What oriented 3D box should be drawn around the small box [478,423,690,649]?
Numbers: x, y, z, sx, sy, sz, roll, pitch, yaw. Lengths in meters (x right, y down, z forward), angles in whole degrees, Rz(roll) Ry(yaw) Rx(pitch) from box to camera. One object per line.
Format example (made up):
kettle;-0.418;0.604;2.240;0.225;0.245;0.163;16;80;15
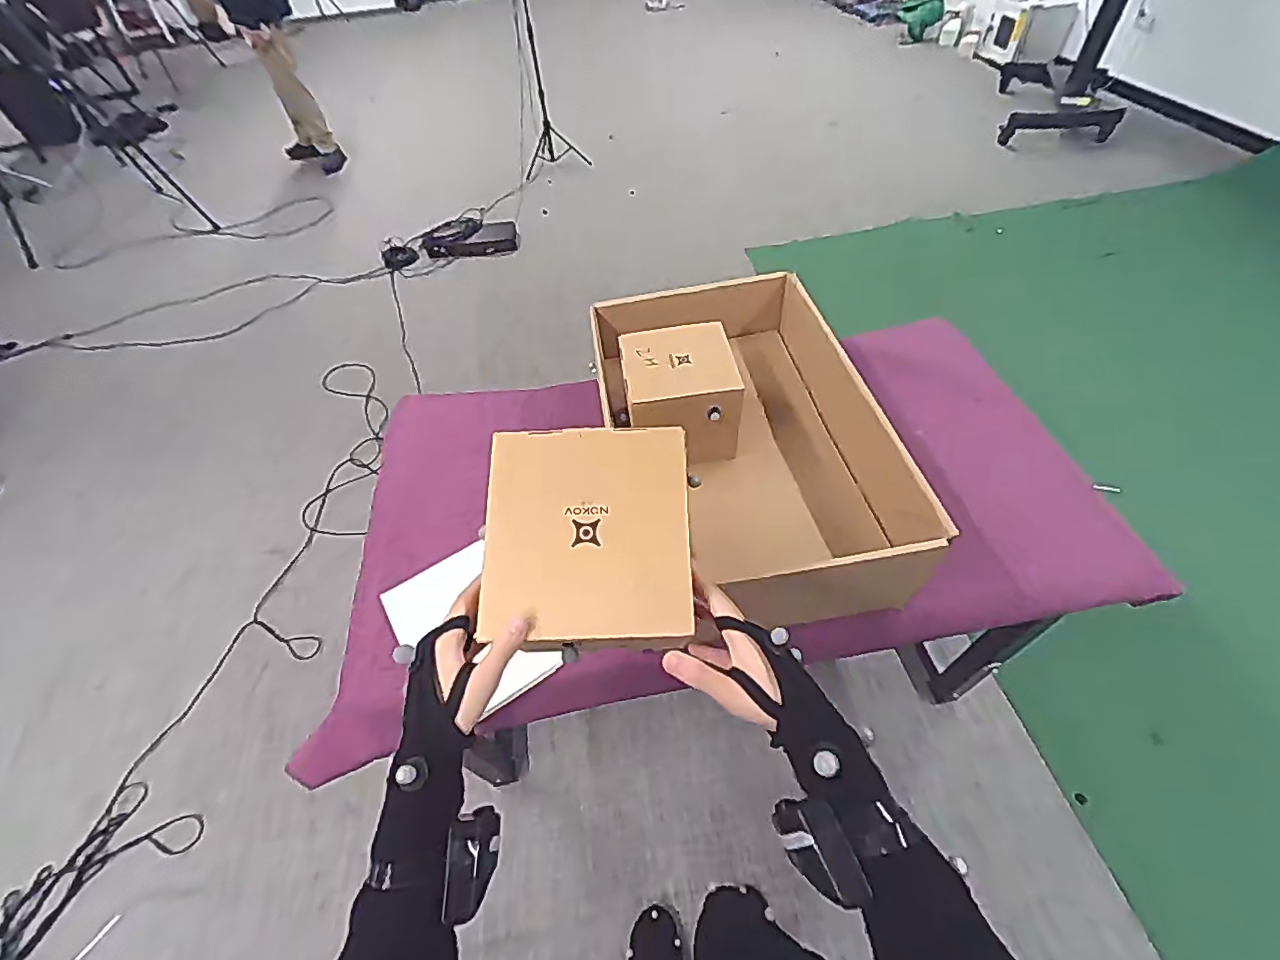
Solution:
small box;-0.040;0.064;0.508;0.168;0.176;0.179;-3;68;1
